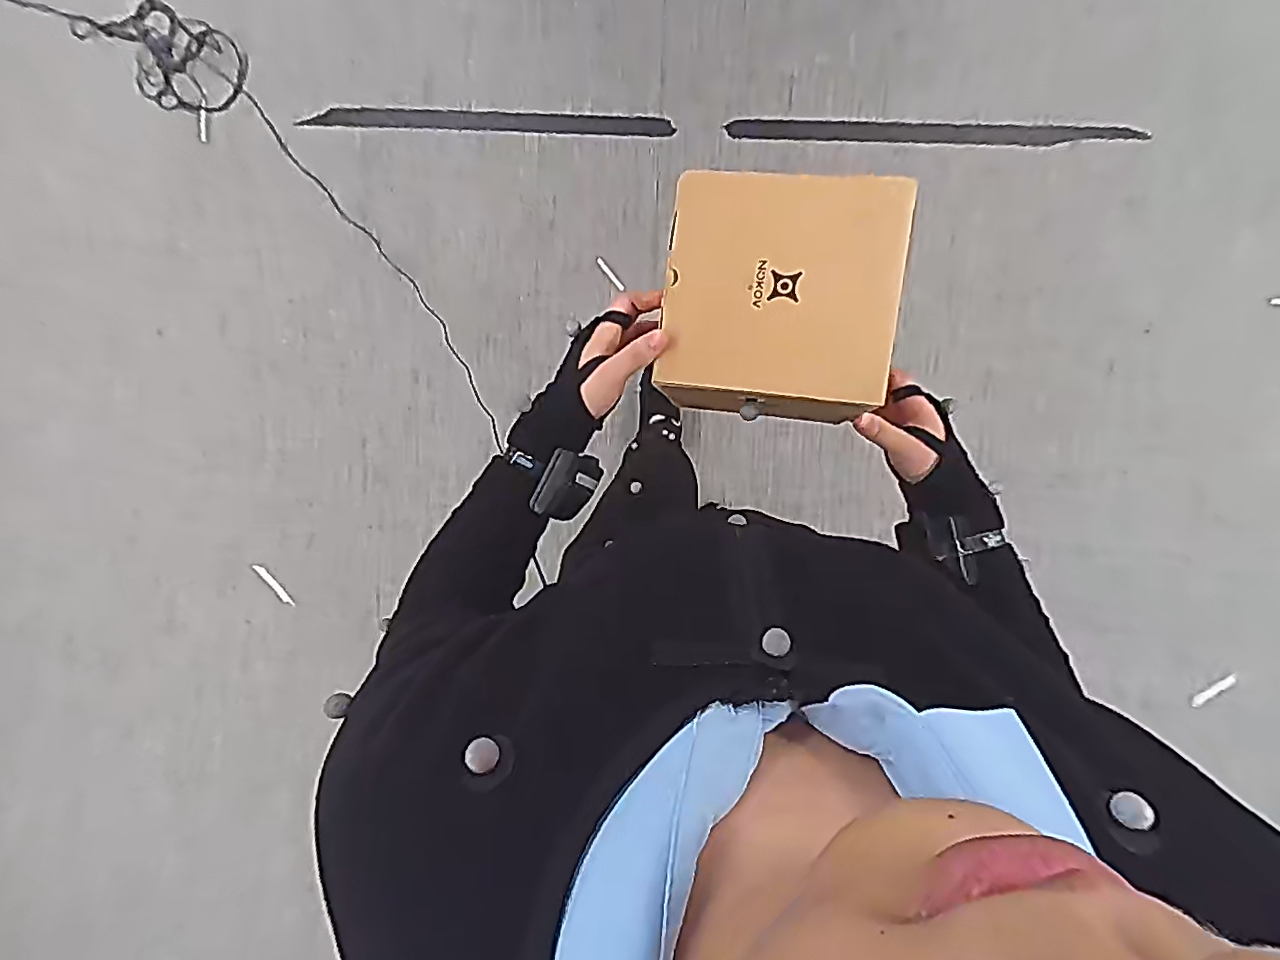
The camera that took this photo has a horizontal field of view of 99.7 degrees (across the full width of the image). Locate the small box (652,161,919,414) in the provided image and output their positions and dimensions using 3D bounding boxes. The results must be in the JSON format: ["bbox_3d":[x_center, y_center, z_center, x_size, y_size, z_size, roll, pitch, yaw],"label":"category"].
[{"bbox_3d":[0.119,-0.154,0.481,0.179,0.176,0.168,8,93,11],"label":"small box"}]
